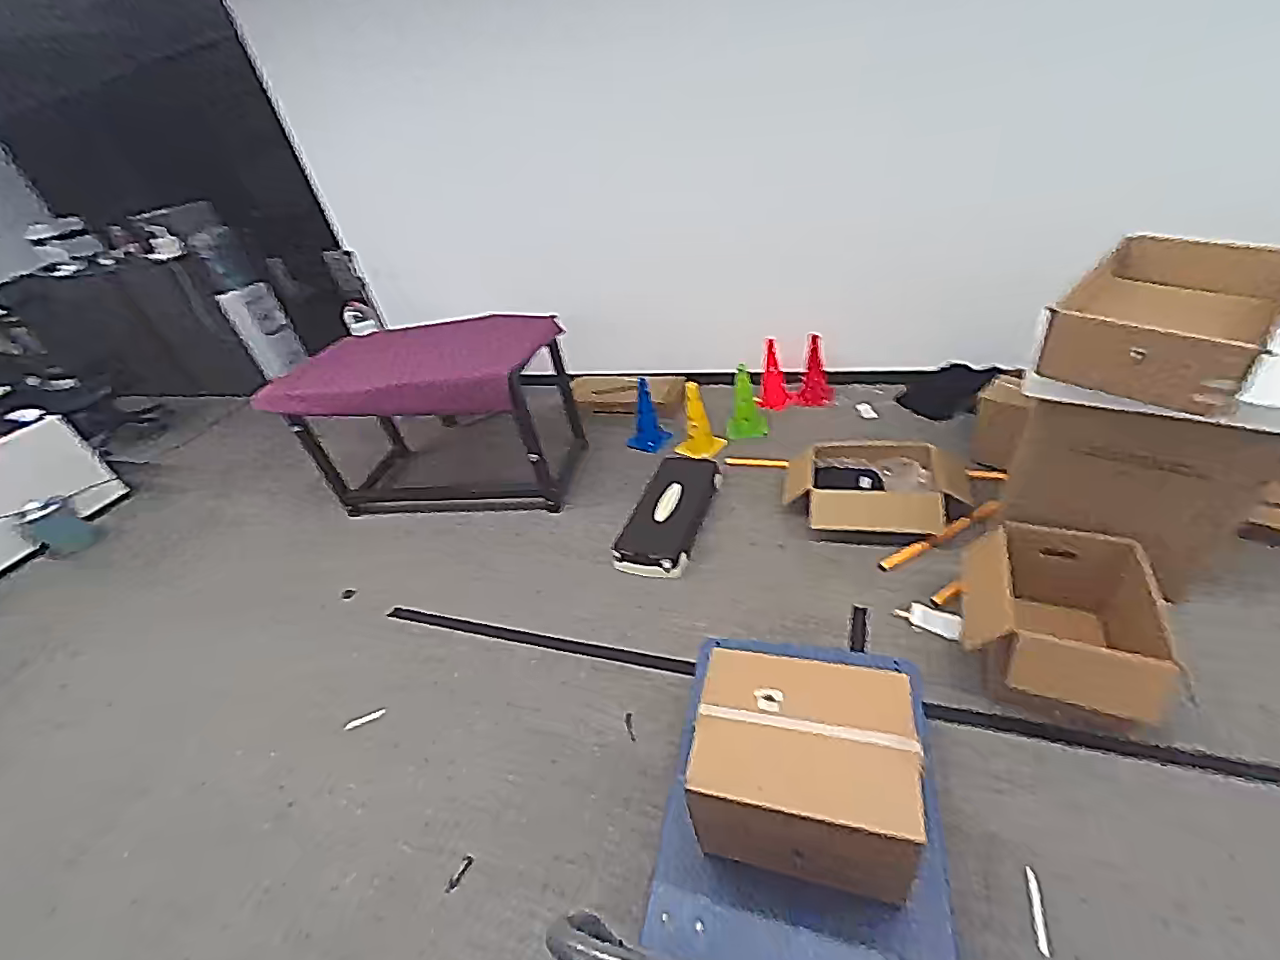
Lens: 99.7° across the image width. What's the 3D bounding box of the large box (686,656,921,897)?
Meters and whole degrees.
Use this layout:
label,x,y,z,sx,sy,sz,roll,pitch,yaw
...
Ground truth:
label,x,y,z,sx,sy,sz,roll,pitch,yaw
large box,0.342,0.612,1.144,0.408,0.320,0.320,1,37,19
